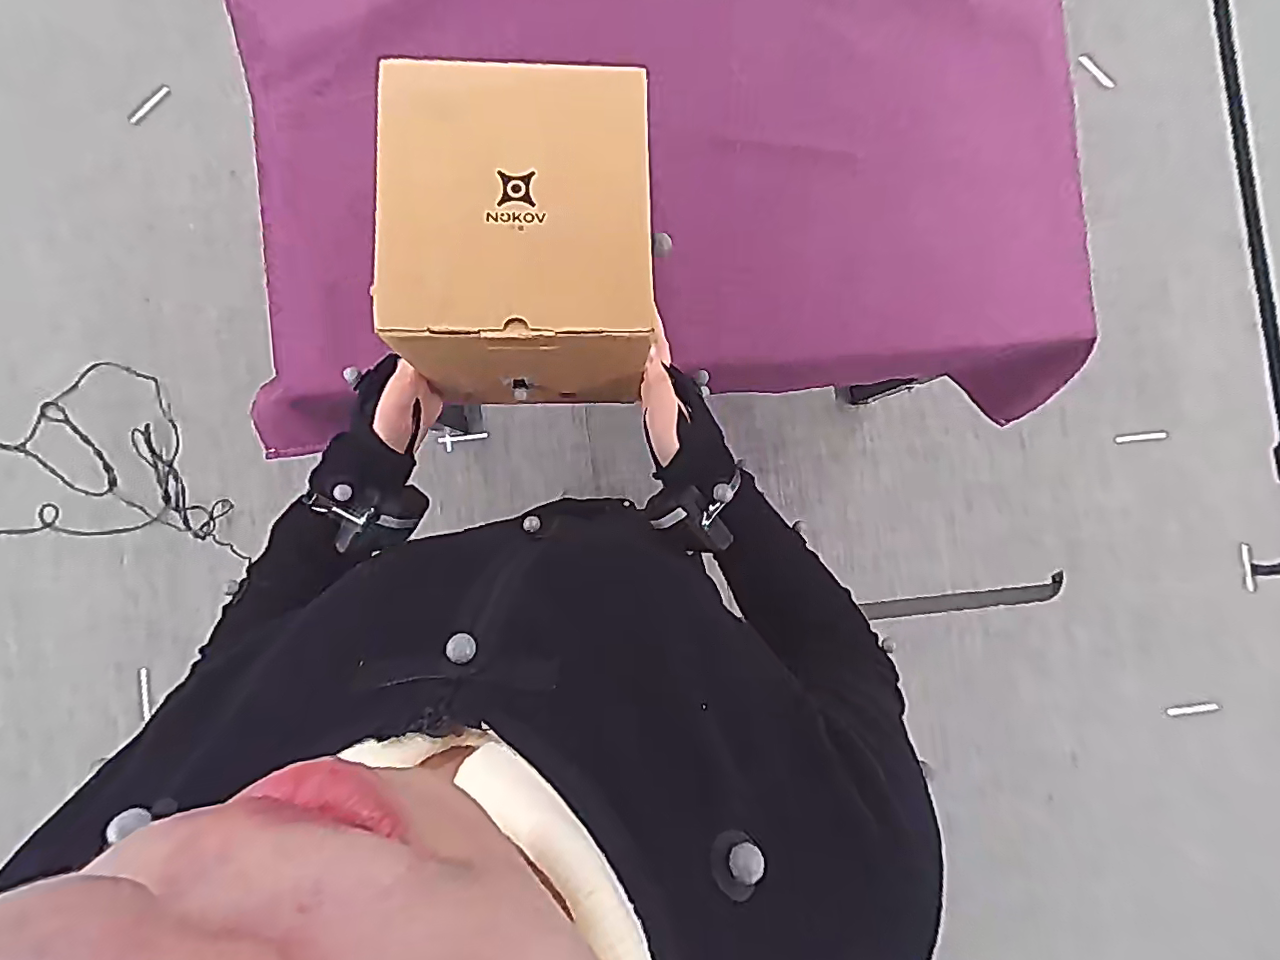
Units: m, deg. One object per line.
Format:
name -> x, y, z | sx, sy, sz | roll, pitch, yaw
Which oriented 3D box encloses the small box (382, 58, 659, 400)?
small box -> -0.078, -0.166, 0.409 | 0.168, 0.176, 0.179 | -1, 86, -4
